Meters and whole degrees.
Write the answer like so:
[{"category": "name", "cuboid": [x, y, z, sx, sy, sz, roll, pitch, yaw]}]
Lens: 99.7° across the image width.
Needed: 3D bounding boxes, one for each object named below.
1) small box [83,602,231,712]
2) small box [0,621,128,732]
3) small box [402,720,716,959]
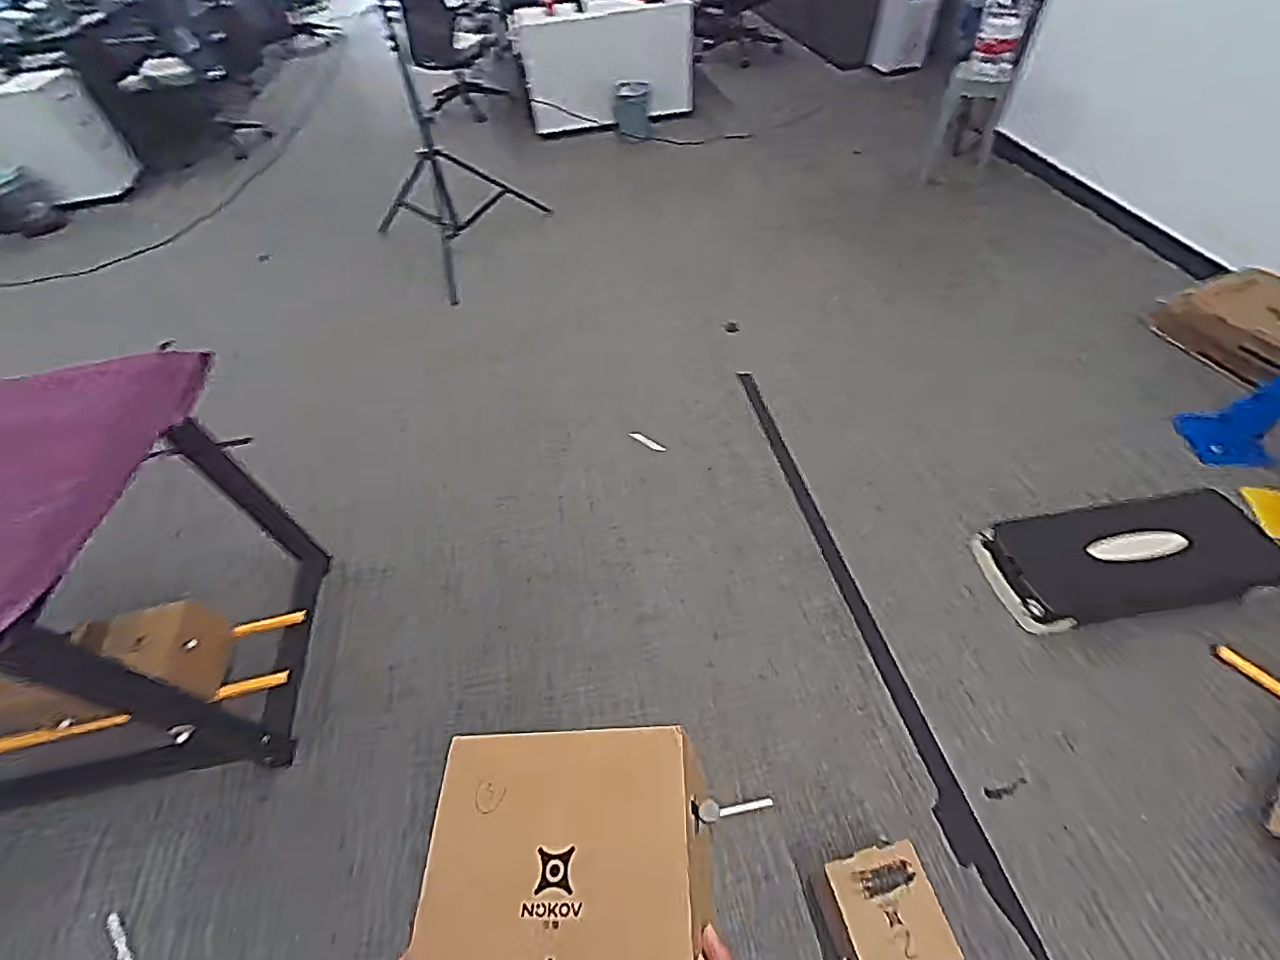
[{"category": "small box", "cuboid": [-1.086, 0.407, 1.238, 0.168, 0.176, 0.179, -12, 53, -4]}, {"category": "small box", "cuboid": [-1.289, 0.447, 1.227, 0.168, 0.176, 0.179, -12, 53, -4]}, {"category": "small box", "cuboid": [-0.038, 0.284, 0.372, 0.168, 0.176, 0.179, -7, 51, 7]}]
